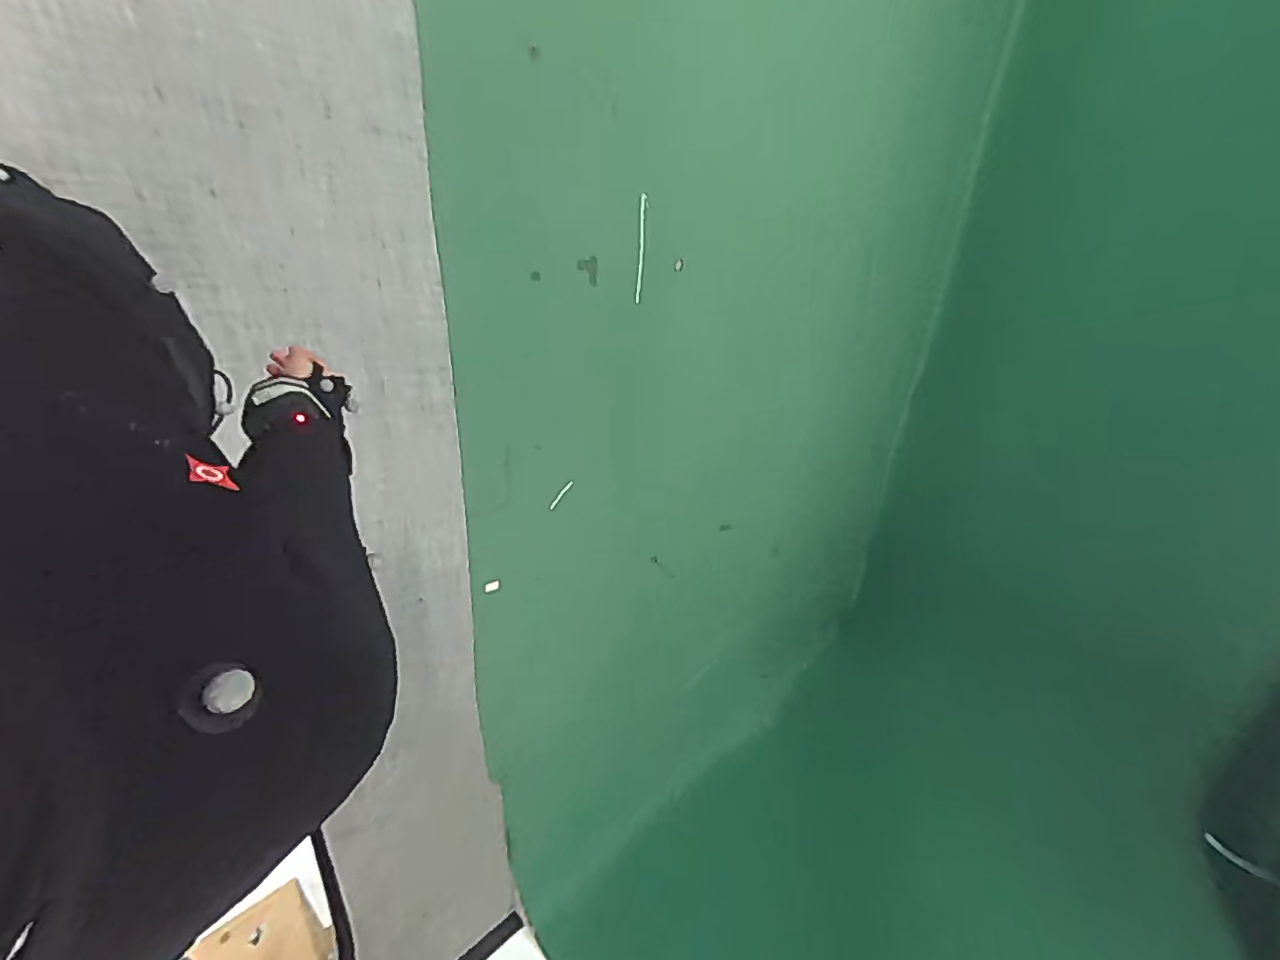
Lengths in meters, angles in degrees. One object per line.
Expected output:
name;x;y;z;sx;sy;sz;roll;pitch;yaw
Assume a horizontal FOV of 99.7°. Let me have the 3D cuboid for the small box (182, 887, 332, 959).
small box;-0.592;0.807;0.856;0.168;0.176;0.179;-23;124;-35
